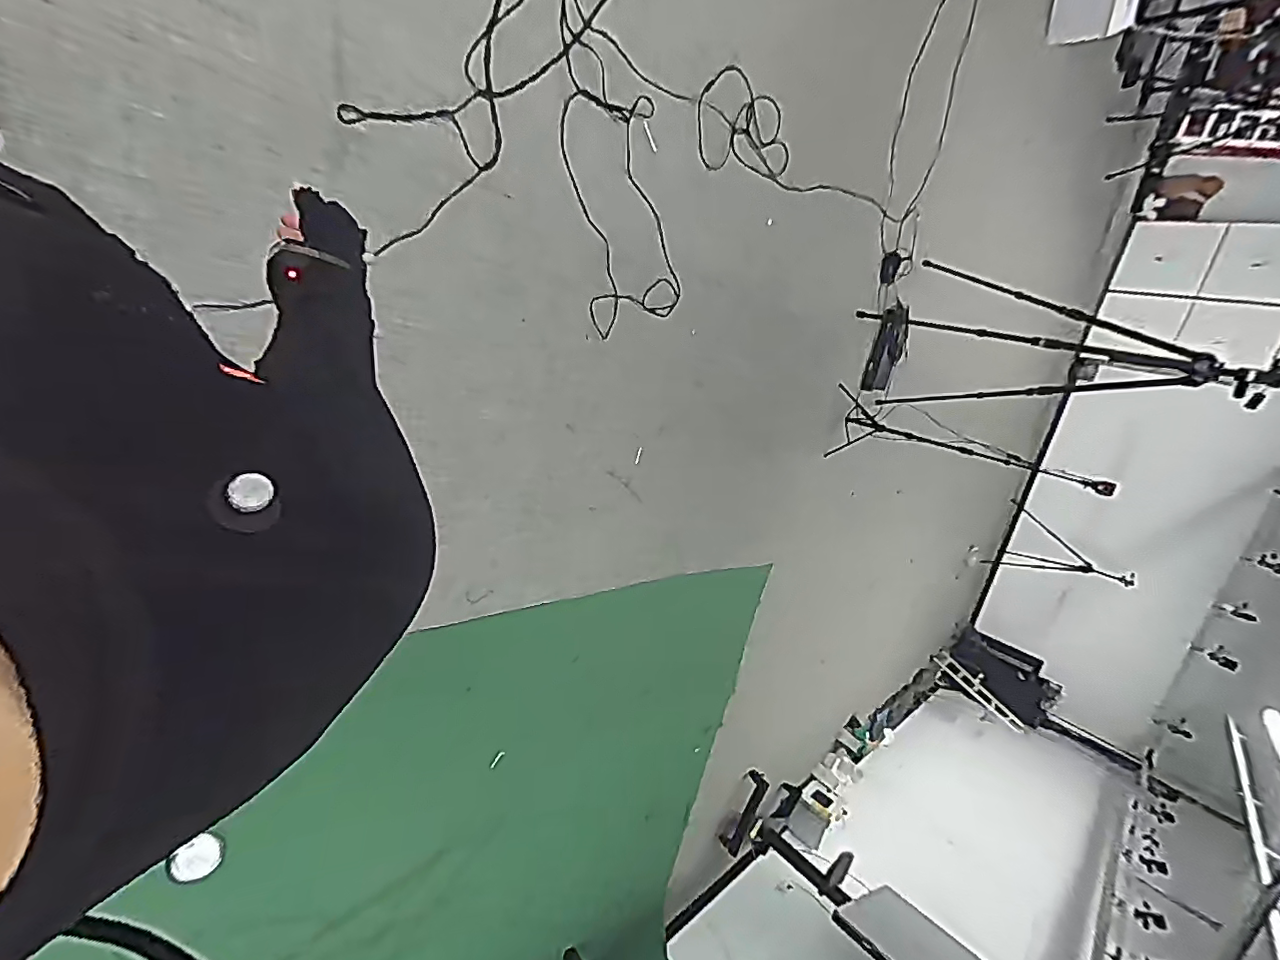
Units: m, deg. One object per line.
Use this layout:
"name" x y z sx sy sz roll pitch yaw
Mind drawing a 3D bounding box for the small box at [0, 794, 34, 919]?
"small box" -1.339 0.766 1.077 0.168 0.176 0.179 4 107 -48
